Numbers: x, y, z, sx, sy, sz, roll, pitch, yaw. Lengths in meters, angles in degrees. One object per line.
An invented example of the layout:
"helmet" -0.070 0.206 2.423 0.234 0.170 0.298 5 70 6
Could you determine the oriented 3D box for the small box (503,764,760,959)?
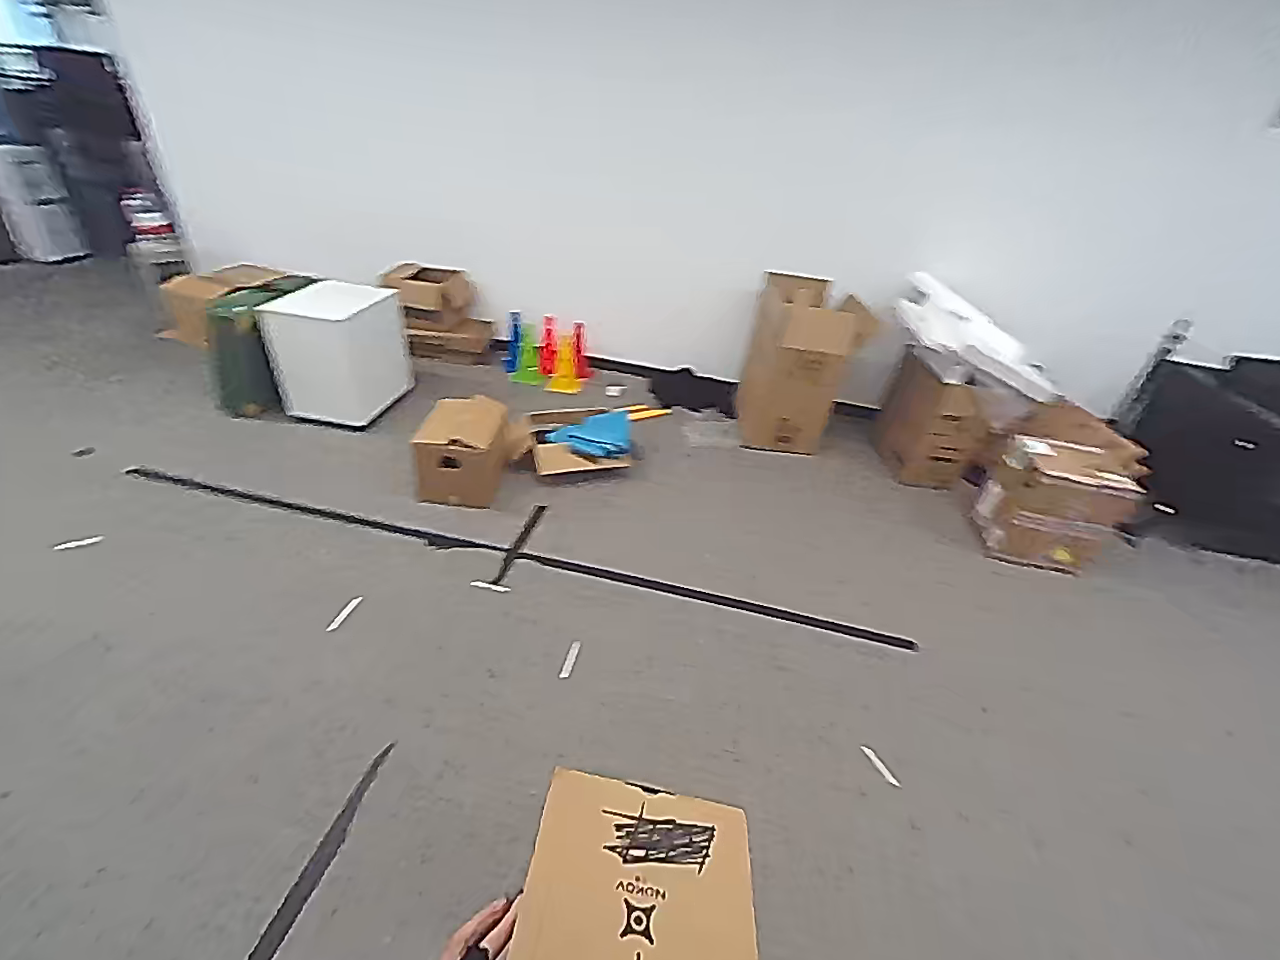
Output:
"small box" -0.017 0.359 0.405 0.168 0.176 0.179 13 25 -2
